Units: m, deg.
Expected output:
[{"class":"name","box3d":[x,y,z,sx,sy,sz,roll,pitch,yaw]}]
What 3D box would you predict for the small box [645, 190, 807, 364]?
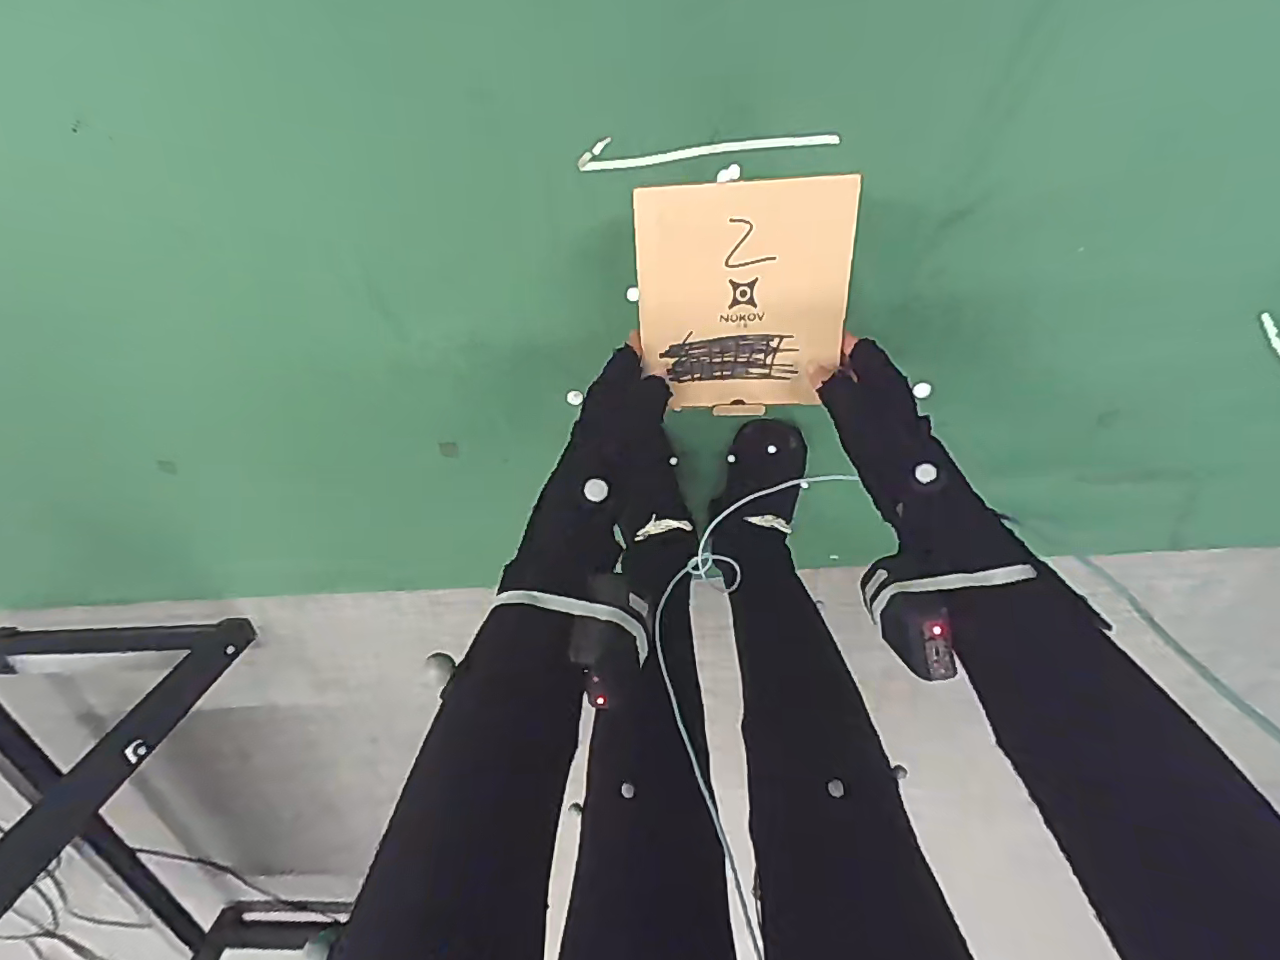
[{"class":"small box","box3d":[0.094,-0.249,0.654,0.168,0.176,0.179,-1,117,4]}]
